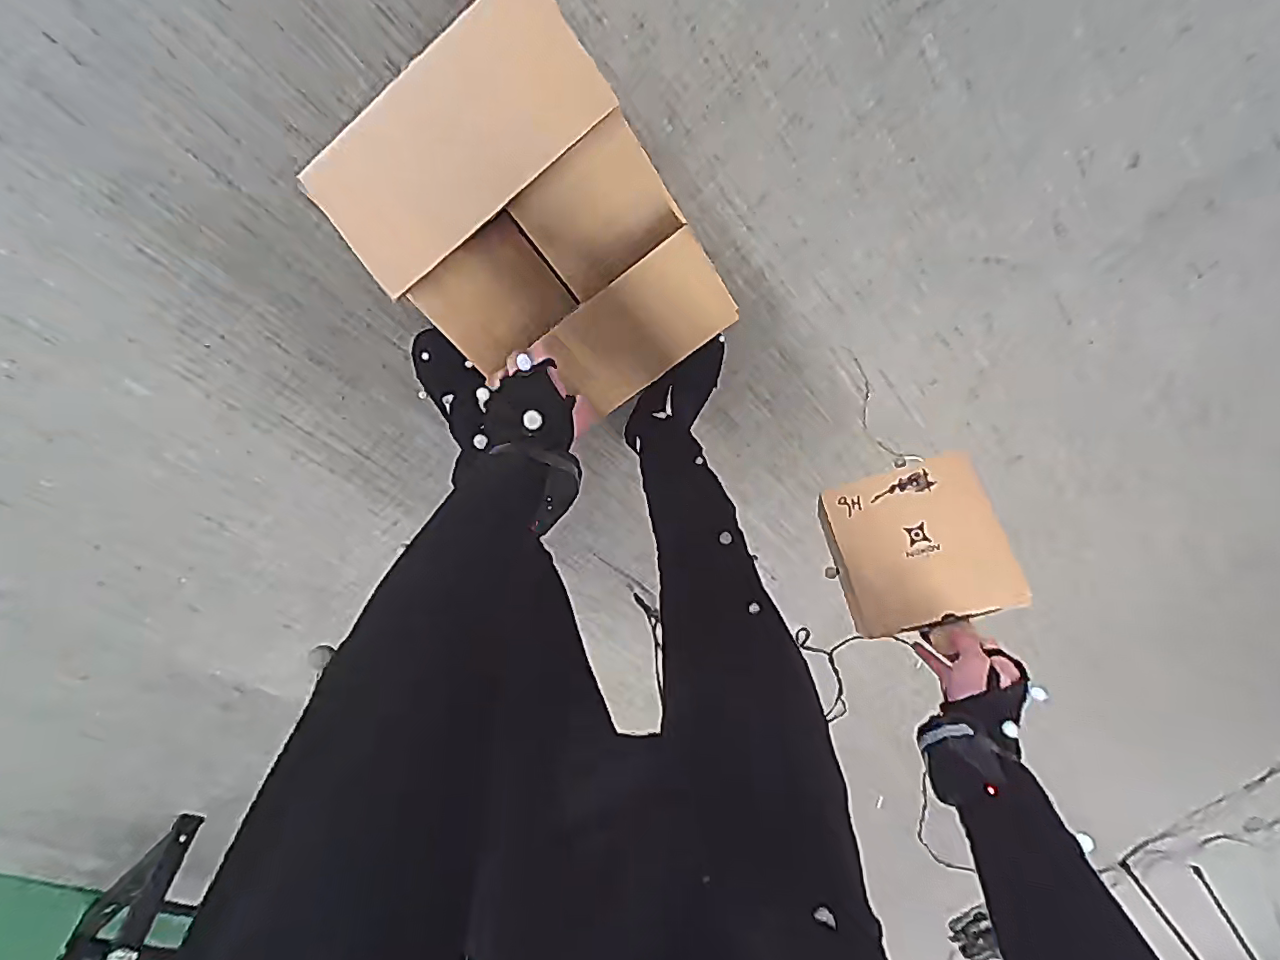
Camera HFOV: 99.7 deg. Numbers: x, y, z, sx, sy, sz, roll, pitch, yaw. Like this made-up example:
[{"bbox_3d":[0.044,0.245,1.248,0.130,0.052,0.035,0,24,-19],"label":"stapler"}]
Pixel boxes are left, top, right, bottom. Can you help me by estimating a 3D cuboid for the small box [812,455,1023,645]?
[{"bbox_3d":[0.328,0.095,0.675,0.168,0.179,0.176,-21,160,13],"label":"small box"}]
